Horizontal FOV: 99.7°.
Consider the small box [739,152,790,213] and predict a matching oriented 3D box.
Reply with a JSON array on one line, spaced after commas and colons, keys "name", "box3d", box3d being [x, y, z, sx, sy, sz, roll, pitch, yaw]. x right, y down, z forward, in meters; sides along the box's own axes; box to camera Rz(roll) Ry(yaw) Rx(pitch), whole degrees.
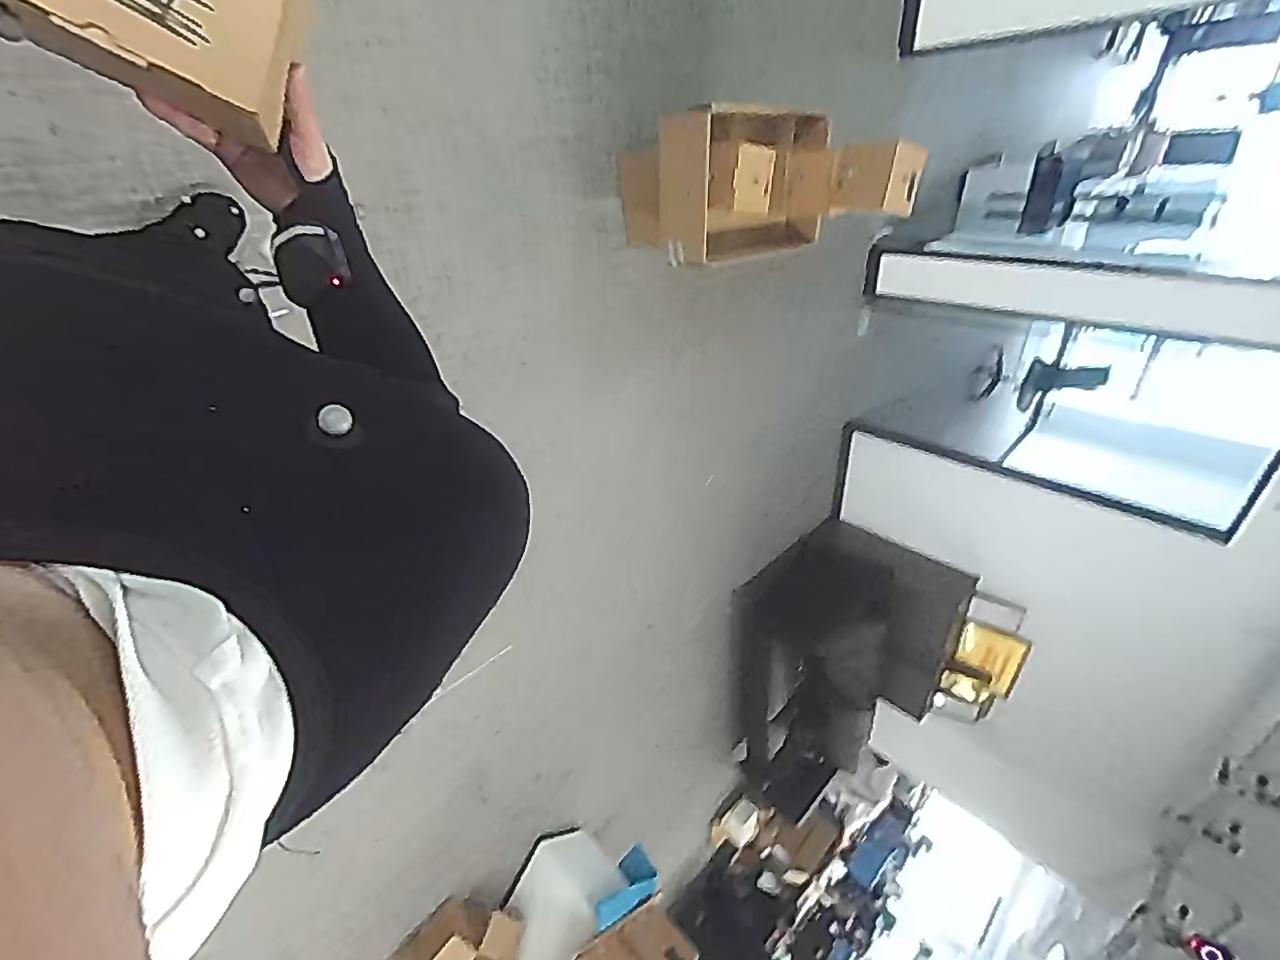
[{"name": "small box", "box3d": [0.440, -0.956, 1.733, 0.179, 0.176, 0.168, -27, 127, -34]}]

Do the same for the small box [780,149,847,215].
[{"name": "small box", "box3d": [0.547, -0.900, 1.626, 0.179, 0.176, 0.168, -27, 128, -33]}]

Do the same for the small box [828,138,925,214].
[{"name": "small box", "box3d": [0.660, -0.848, 1.518, 0.179, 0.176, 0.168, -17, 122, -38]}]
